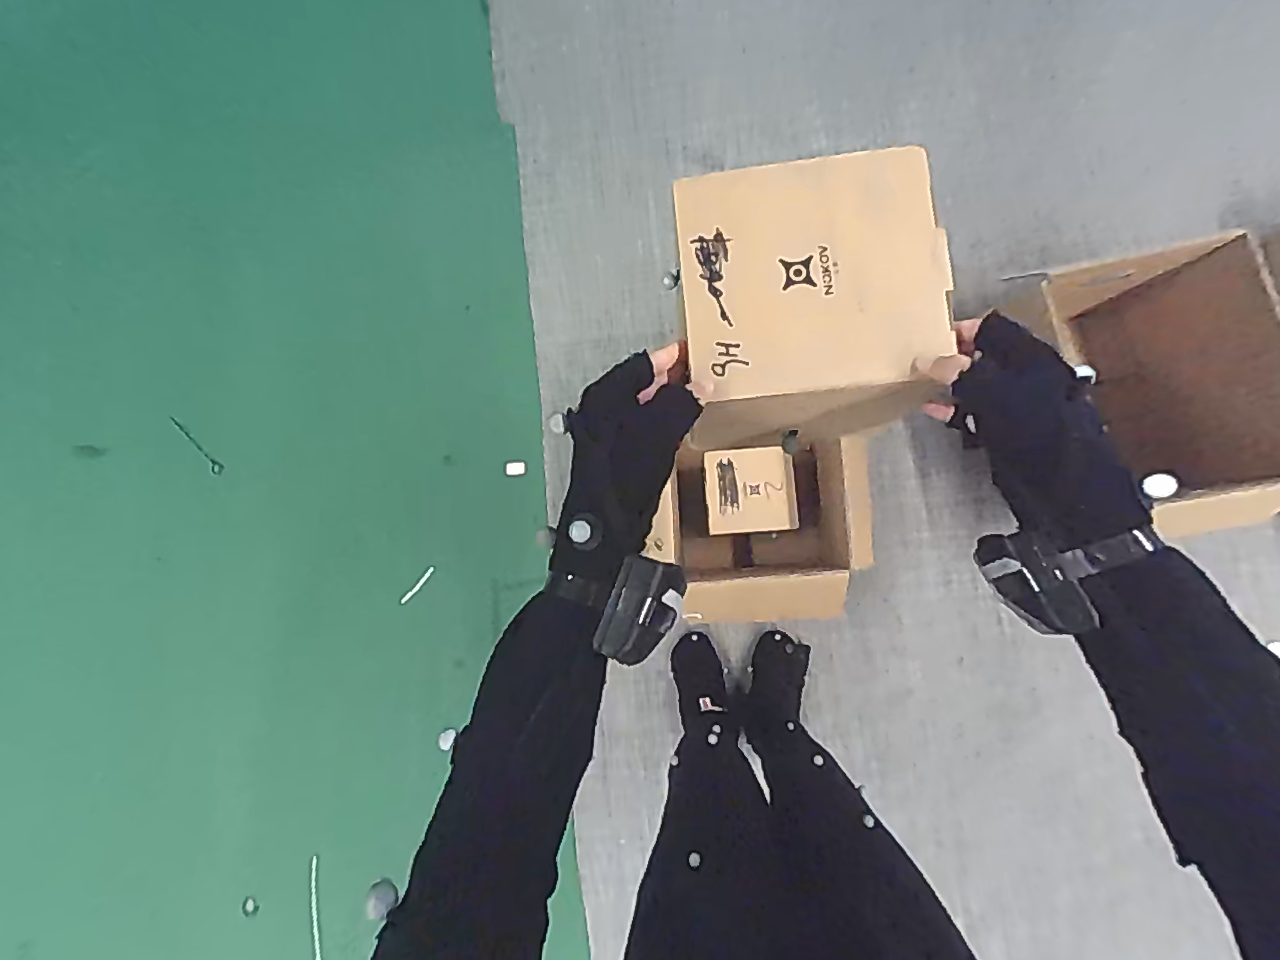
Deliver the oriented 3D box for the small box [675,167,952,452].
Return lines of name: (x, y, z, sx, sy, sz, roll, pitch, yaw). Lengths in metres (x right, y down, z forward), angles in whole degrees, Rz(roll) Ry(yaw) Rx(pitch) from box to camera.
small box: (0.121, -0.123, 0.451, 0.179, 0.176, 0.168, -4, 81, 3)
